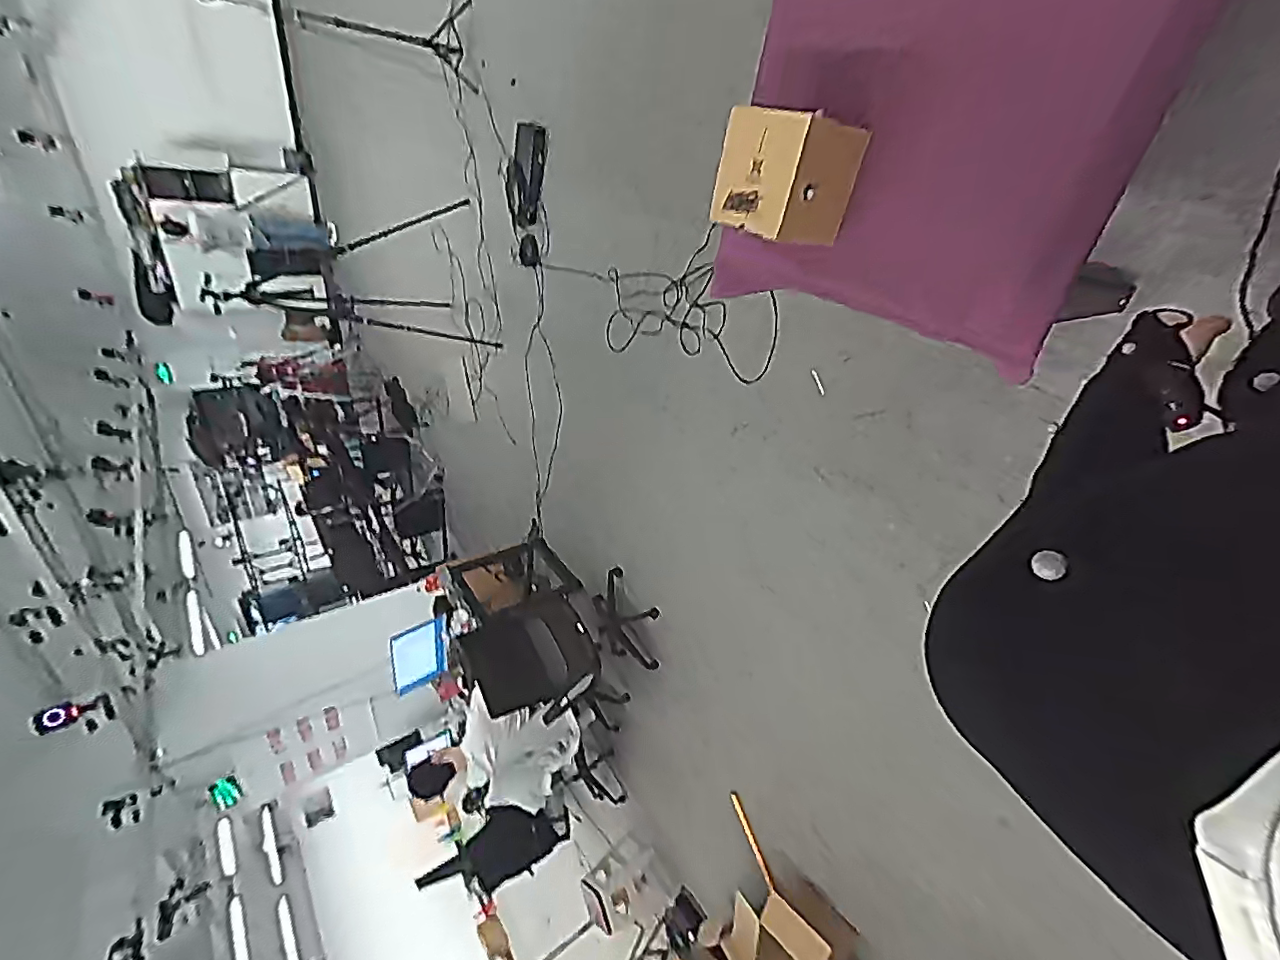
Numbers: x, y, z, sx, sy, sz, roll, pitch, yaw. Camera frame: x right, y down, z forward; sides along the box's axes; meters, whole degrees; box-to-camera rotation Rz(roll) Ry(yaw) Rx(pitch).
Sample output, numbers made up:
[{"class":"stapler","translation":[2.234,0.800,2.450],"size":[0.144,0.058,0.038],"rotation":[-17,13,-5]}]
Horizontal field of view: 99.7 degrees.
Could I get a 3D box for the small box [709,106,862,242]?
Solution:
[{"class":"small box","translation":[0.249,-0.519,0.930],"size":[0.168,0.176,0.179],"rotation":[40,132,38]}]
